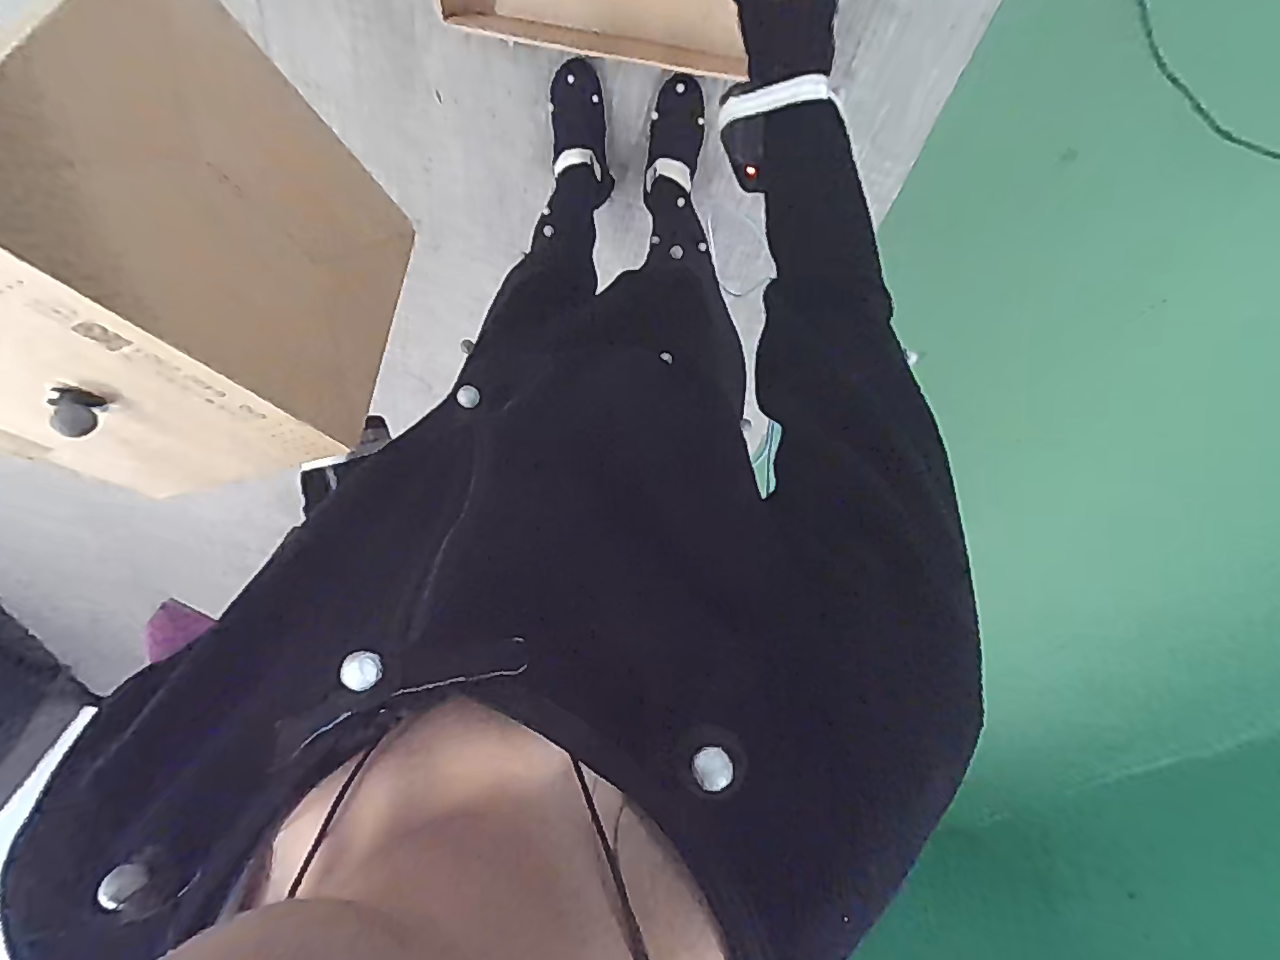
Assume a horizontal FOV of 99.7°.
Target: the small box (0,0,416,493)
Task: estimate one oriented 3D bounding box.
[{"bbox_3d":[-0.254,-0.113,0.292,0.176,0.179,0.168,-9,152,19],"label":"small box"}]
